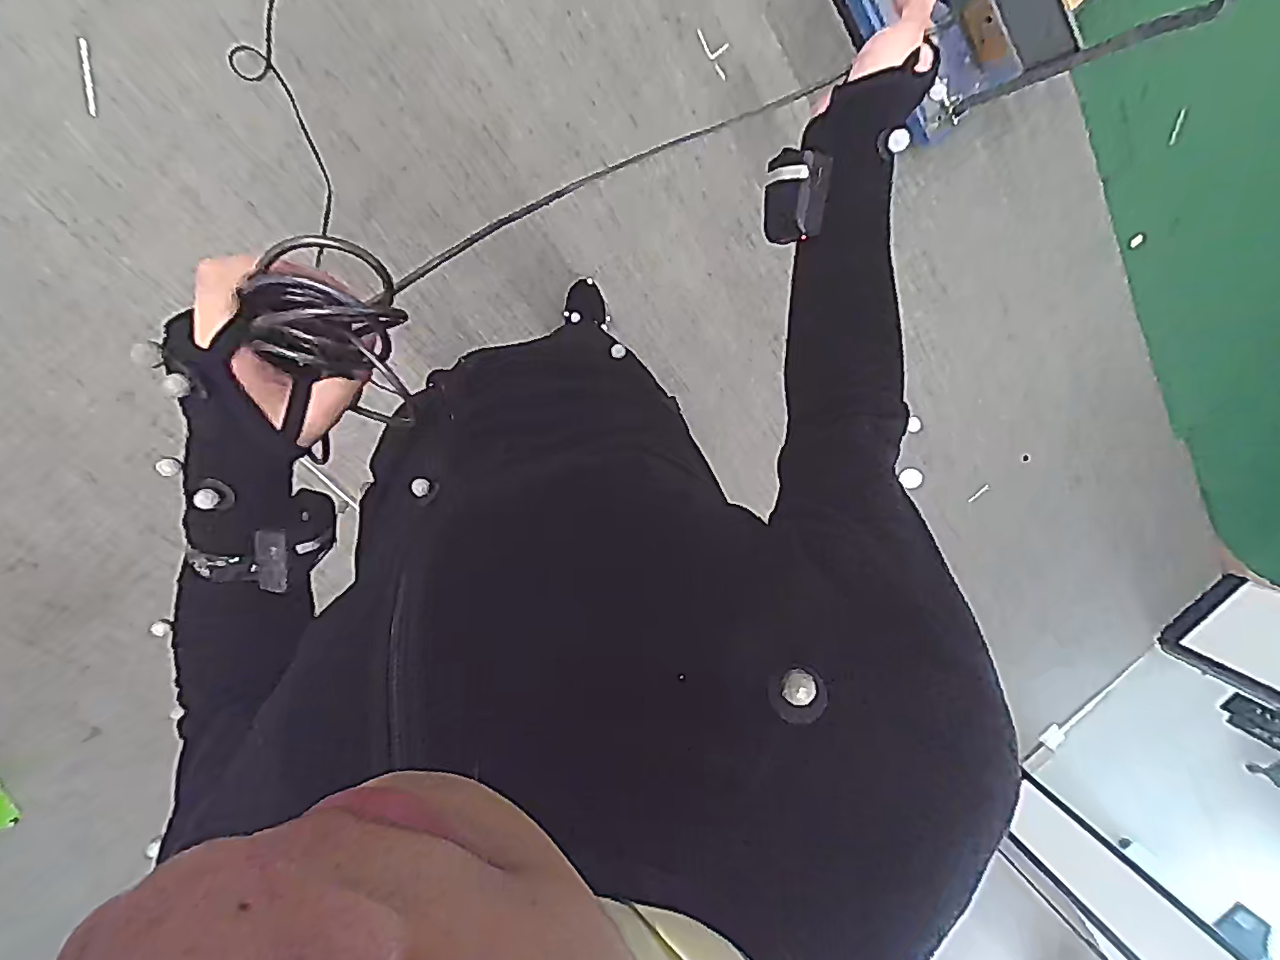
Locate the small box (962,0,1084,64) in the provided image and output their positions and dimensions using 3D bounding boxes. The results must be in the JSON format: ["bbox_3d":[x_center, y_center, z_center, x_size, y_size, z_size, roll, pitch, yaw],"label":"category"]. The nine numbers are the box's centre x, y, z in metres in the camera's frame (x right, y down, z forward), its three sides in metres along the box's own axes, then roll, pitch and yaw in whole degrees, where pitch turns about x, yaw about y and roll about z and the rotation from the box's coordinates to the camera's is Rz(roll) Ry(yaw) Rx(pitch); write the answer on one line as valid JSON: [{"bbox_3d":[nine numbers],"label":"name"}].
[{"bbox_3d":[0.943,-1.184,1.328,0.179,0.176,0.168,-41,112,1],"label":"small box"}]
